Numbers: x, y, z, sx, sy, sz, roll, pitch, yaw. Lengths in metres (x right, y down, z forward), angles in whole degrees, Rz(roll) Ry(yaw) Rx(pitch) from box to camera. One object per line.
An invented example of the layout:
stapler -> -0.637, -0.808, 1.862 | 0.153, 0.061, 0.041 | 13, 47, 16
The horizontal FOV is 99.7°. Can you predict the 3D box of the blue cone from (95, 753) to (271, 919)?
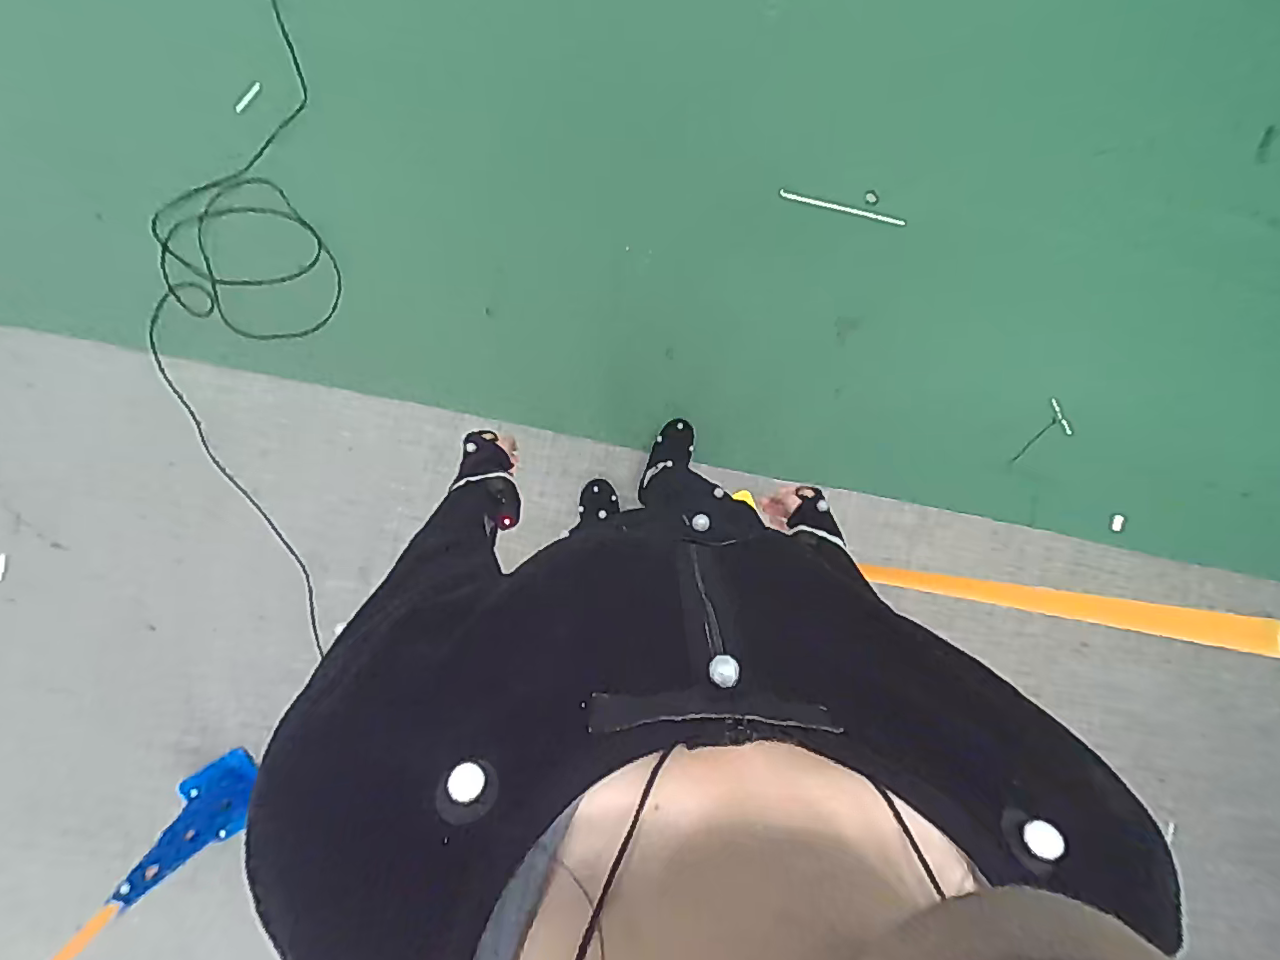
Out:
blue cone -> -1.089, 0.858, 1.273 | 0.193, 0.380, 0.192 | -33, 96, -1
